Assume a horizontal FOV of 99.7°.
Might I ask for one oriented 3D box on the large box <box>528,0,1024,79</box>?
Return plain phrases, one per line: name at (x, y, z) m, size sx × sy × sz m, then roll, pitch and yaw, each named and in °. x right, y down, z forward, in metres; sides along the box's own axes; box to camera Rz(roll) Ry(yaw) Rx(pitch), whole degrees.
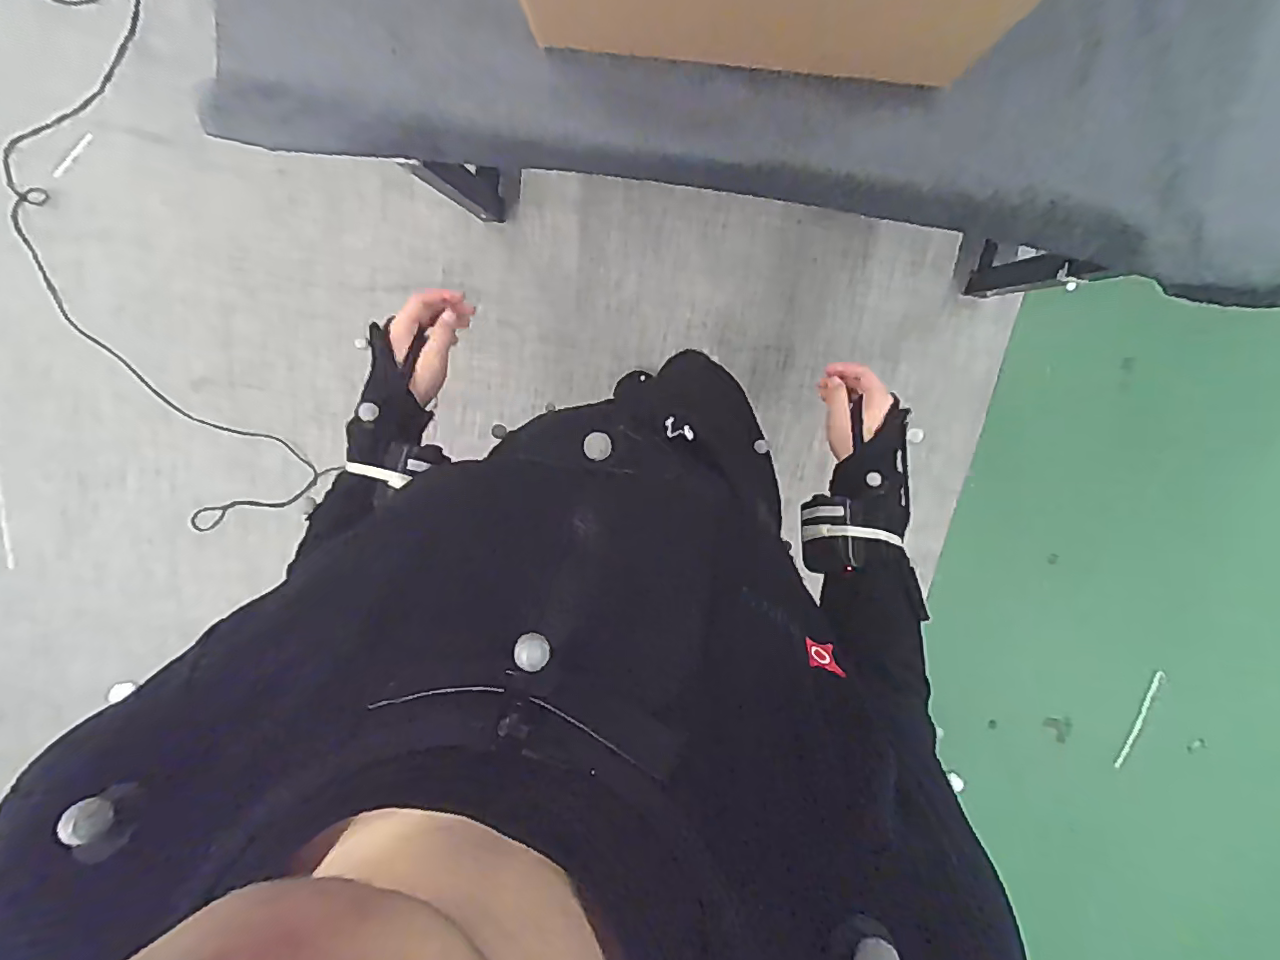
large box at (0.109, -0.518, 0.351) m, size 0.408 × 0.320 × 0.320 m, roll 5°, pitch 104°, yaw 0°
